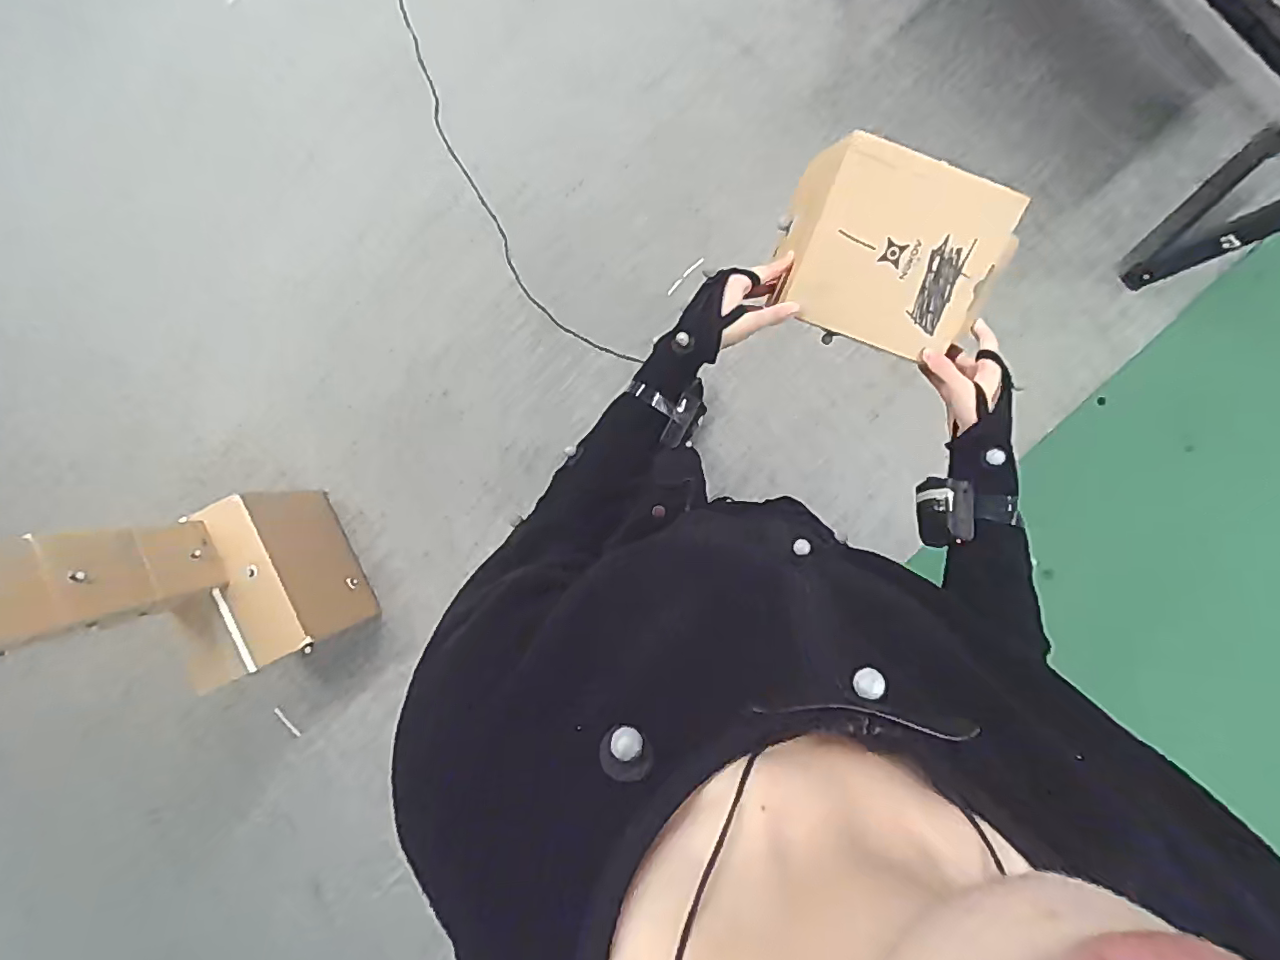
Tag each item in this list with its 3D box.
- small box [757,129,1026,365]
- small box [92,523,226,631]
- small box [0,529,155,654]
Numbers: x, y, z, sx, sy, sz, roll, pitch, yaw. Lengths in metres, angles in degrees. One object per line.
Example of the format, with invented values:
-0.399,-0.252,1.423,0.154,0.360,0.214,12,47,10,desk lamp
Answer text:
0.247,-0.242,0.583,0.179,0.176,0.168,18,111,-4,small box
-1.082,0.208,1.197,0.179,0.176,0.168,-25,89,5,small box
-1.099,0.202,1.036,0.168,0.176,0.179,-23,89,5,small box
